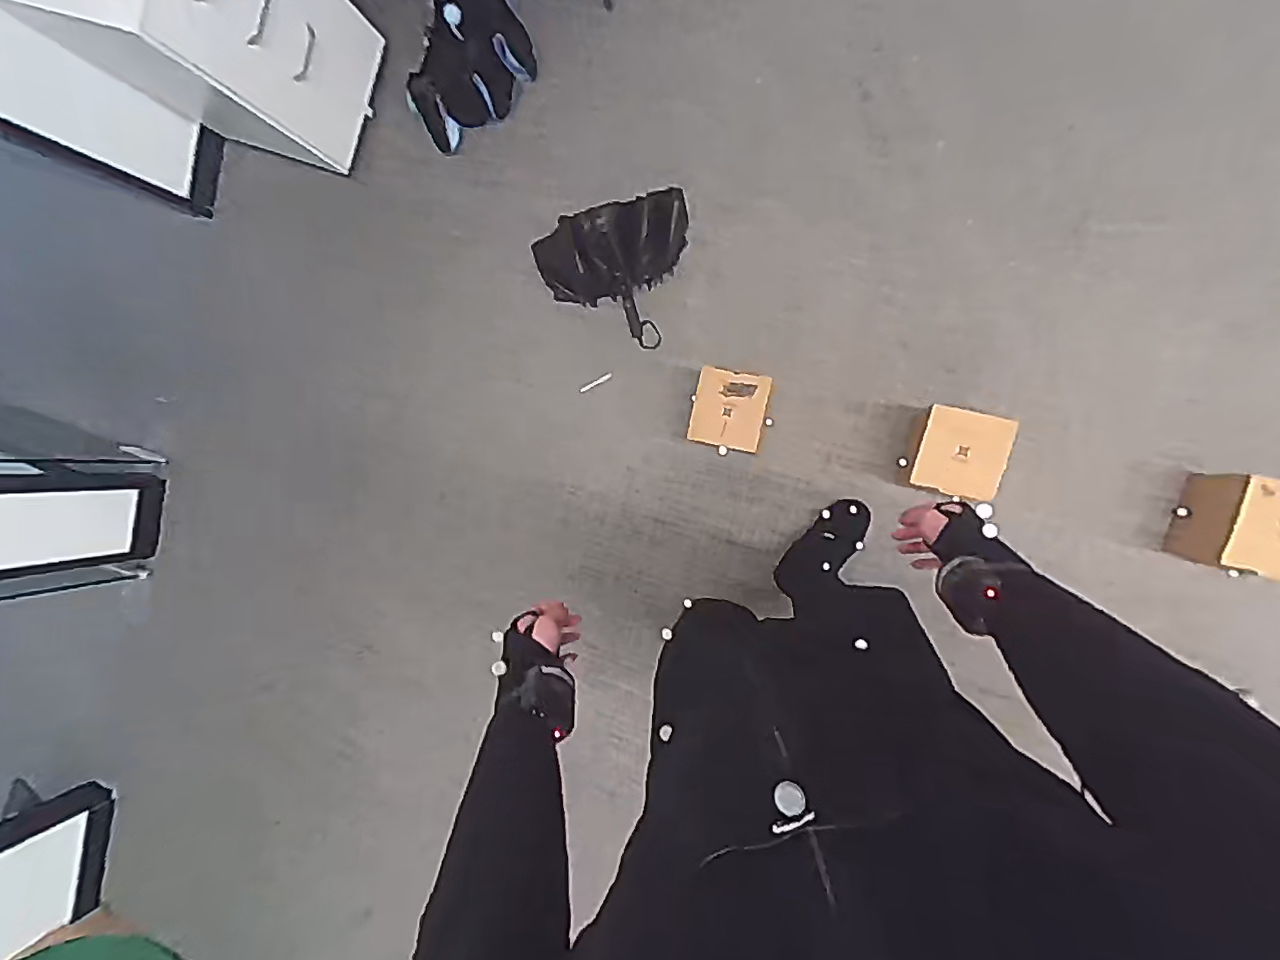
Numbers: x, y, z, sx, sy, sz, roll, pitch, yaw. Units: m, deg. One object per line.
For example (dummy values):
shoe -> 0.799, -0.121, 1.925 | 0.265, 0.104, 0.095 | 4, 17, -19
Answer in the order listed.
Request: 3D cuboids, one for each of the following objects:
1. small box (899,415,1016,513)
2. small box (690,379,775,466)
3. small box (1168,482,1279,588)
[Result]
small box -> 0.692, -0.034, 1.202 | 0.168, 0.176, 0.179 | 14, 92, 14
small box -> 0.233, -0.136, 1.326 | 0.168, 0.176, 0.179 | 13, 95, 16
small box -> 1.199, 0.107, 1.058 | 0.168, 0.176, 0.179 | 16, 95, 15
